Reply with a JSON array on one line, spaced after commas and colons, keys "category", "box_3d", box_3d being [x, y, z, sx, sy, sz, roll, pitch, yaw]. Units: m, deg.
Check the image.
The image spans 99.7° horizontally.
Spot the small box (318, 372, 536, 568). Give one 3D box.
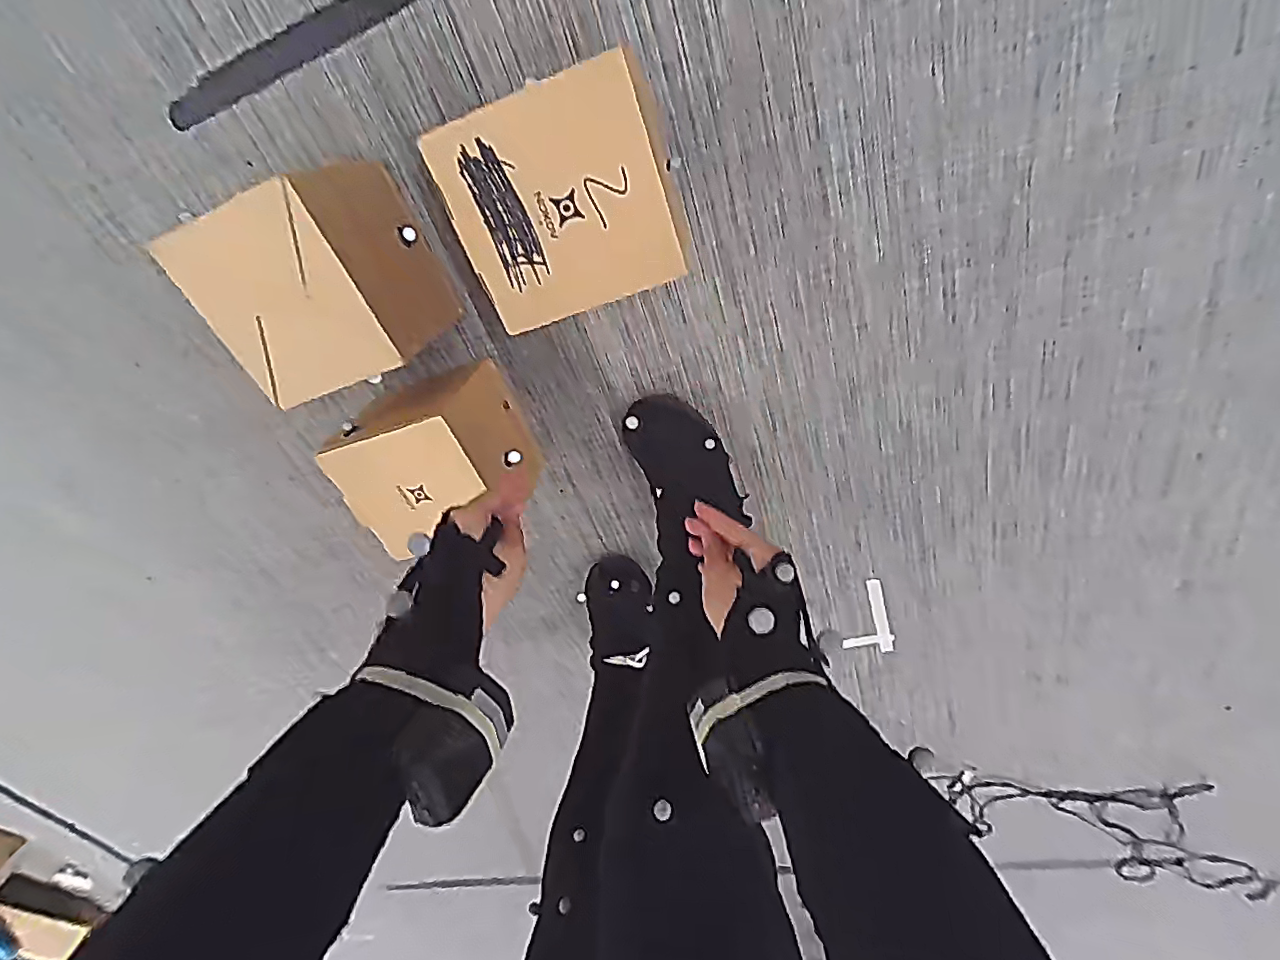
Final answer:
[{"category": "small box", "box_3d": [-0.248, -0.018, 0.688, 0.179, 0.176, 0.168, -14, 121, 15]}]
